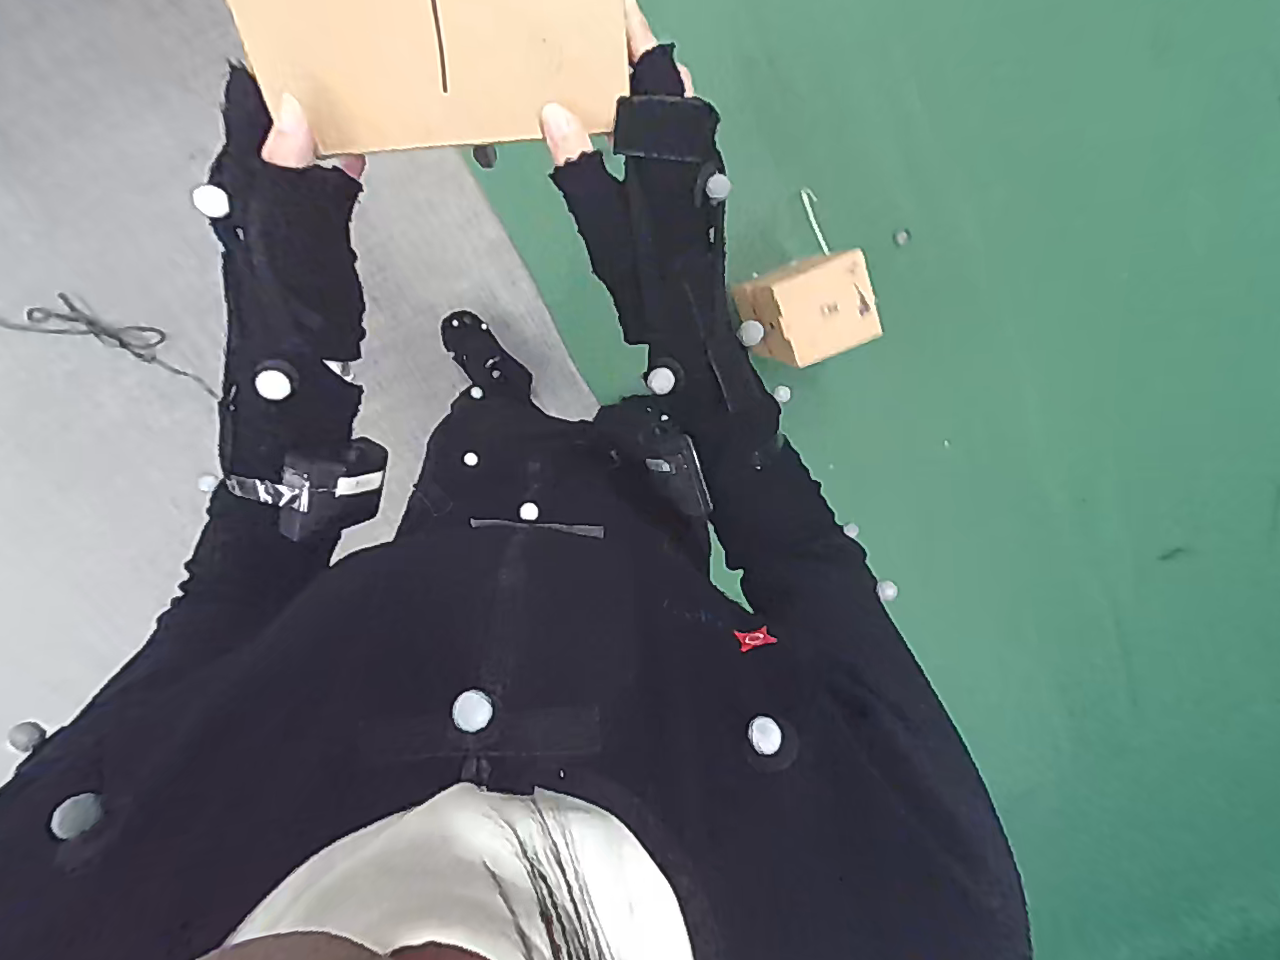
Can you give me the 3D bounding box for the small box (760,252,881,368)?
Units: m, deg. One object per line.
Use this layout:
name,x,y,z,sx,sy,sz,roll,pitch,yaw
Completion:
small box,0.355,-0.344,1.099,0.179,0.176,0.168,-21,109,6

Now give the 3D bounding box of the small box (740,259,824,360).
small box,0.339,-0.389,1.236,0.179,0.176,0.168,-21,110,4
